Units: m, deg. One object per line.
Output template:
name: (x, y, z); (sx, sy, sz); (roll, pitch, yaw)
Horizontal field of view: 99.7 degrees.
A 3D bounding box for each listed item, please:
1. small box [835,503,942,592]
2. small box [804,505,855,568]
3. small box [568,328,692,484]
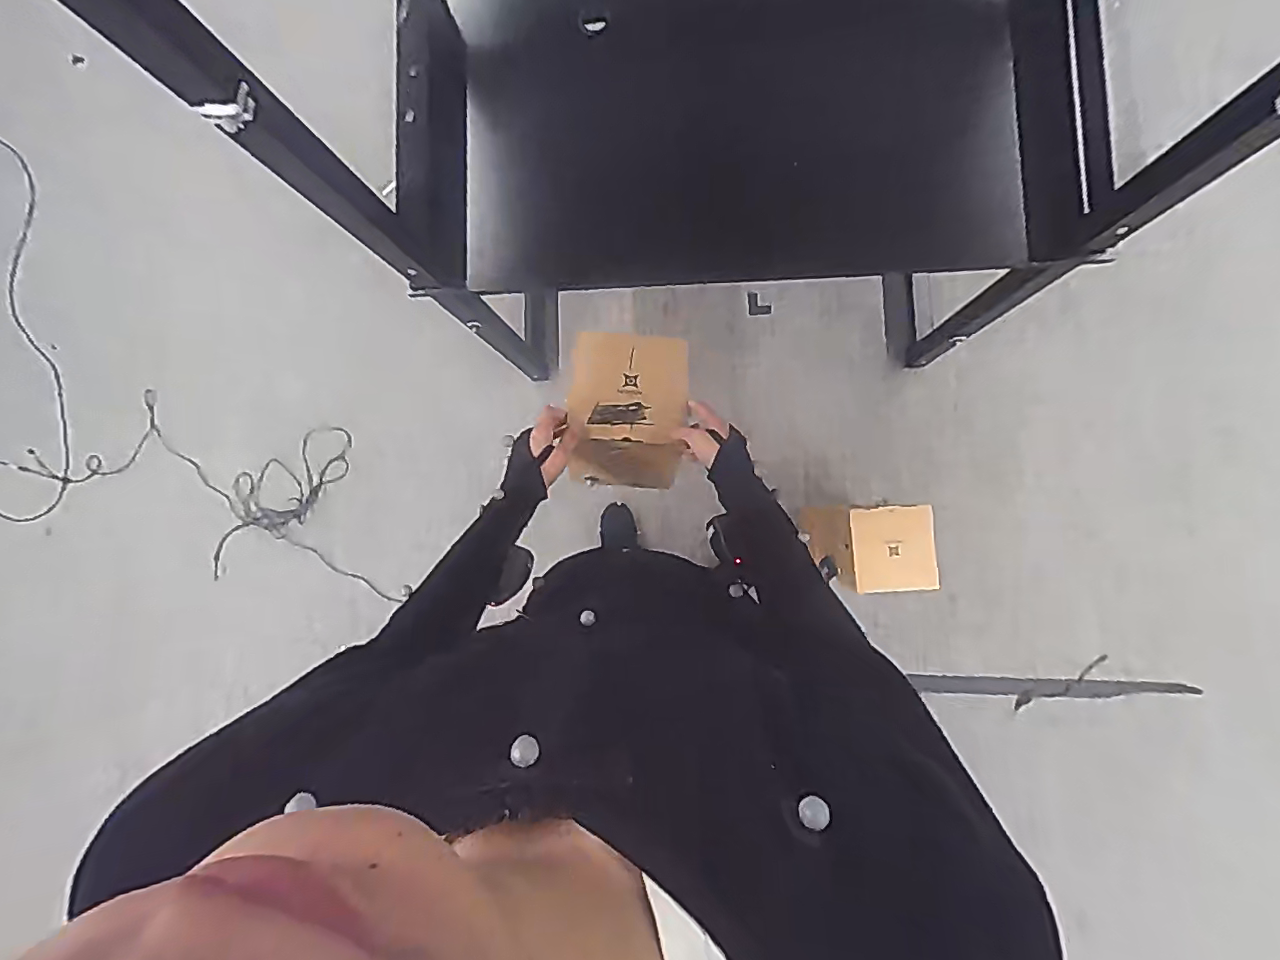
small box: (0.535, 0.141, 1.182); (0.168, 0.176, 0.179); (-5, 86, 6)
small box: (0.566, 0.154, 1.508); (0.179, 0.176, 0.168); (-3, 86, 7)
small box: (-0.015, -0.103, 0.818); (0.168, 0.176, 0.179); (4, 67, -3)
